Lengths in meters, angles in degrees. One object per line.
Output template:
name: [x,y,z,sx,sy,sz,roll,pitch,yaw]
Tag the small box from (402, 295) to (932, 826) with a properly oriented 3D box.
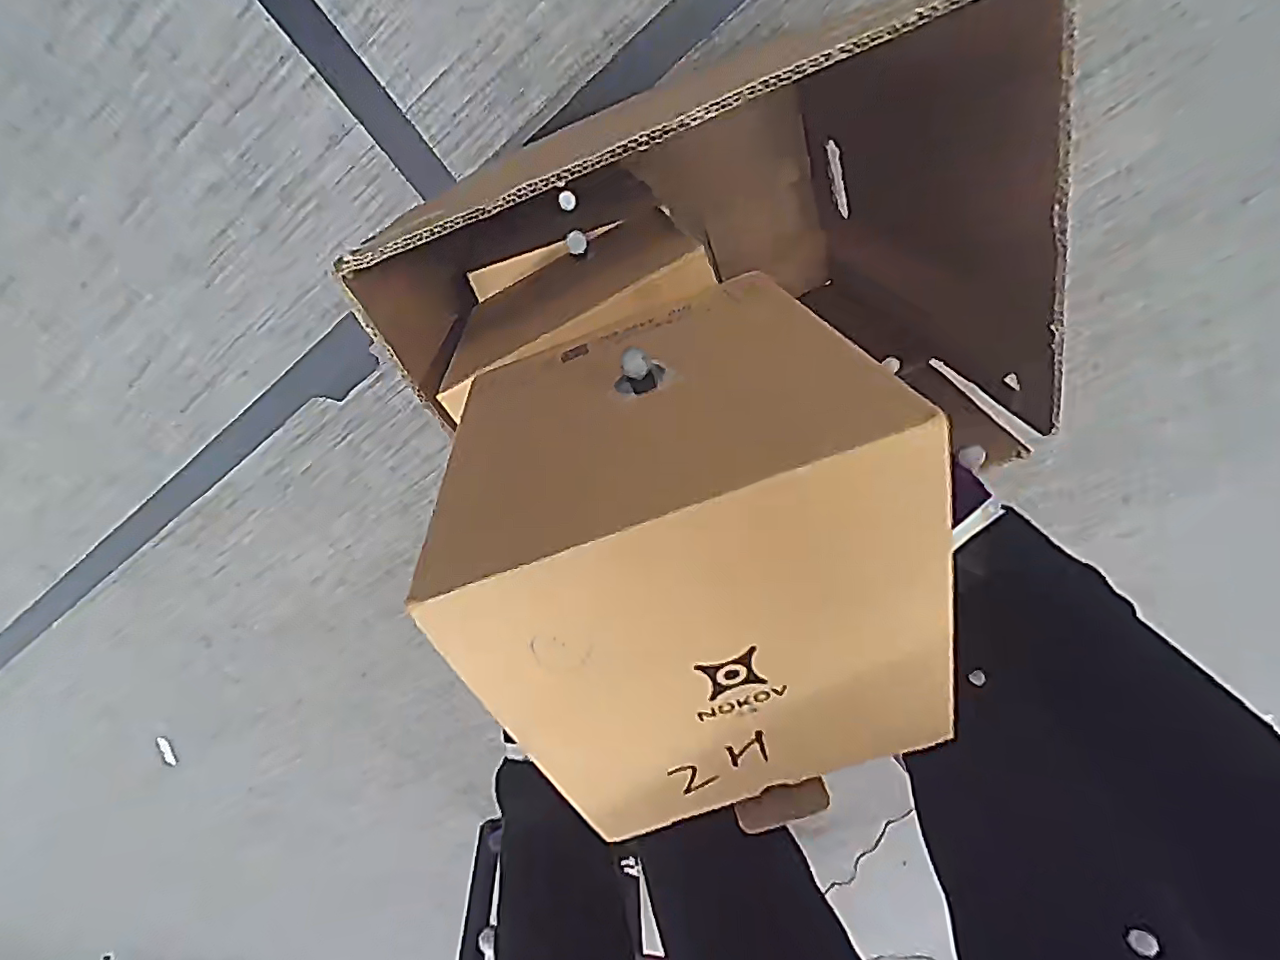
small box: [0.017,0.026,0.268,0.168,0.176,0.179,-20,125,4]
